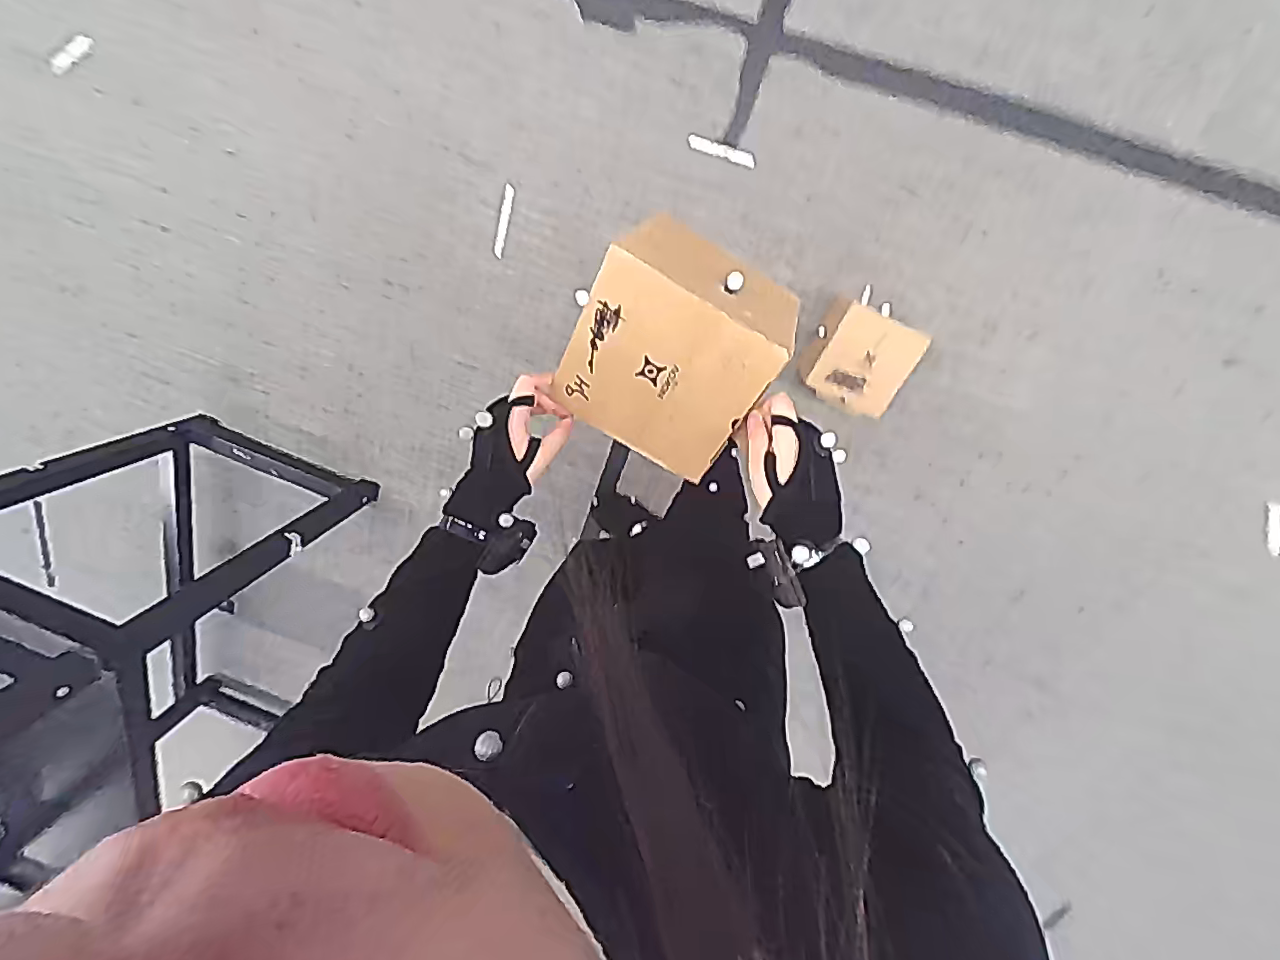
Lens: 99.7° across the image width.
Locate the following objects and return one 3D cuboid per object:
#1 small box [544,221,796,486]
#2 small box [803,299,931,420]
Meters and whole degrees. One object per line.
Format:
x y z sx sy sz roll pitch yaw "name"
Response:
0.037 -0.132 0.537 0.179 0.176 0.168 30 126 -4 "small box"
0.450 -0.252 1.107 0.168 0.176 0.179 26 115 -1 "small box"
